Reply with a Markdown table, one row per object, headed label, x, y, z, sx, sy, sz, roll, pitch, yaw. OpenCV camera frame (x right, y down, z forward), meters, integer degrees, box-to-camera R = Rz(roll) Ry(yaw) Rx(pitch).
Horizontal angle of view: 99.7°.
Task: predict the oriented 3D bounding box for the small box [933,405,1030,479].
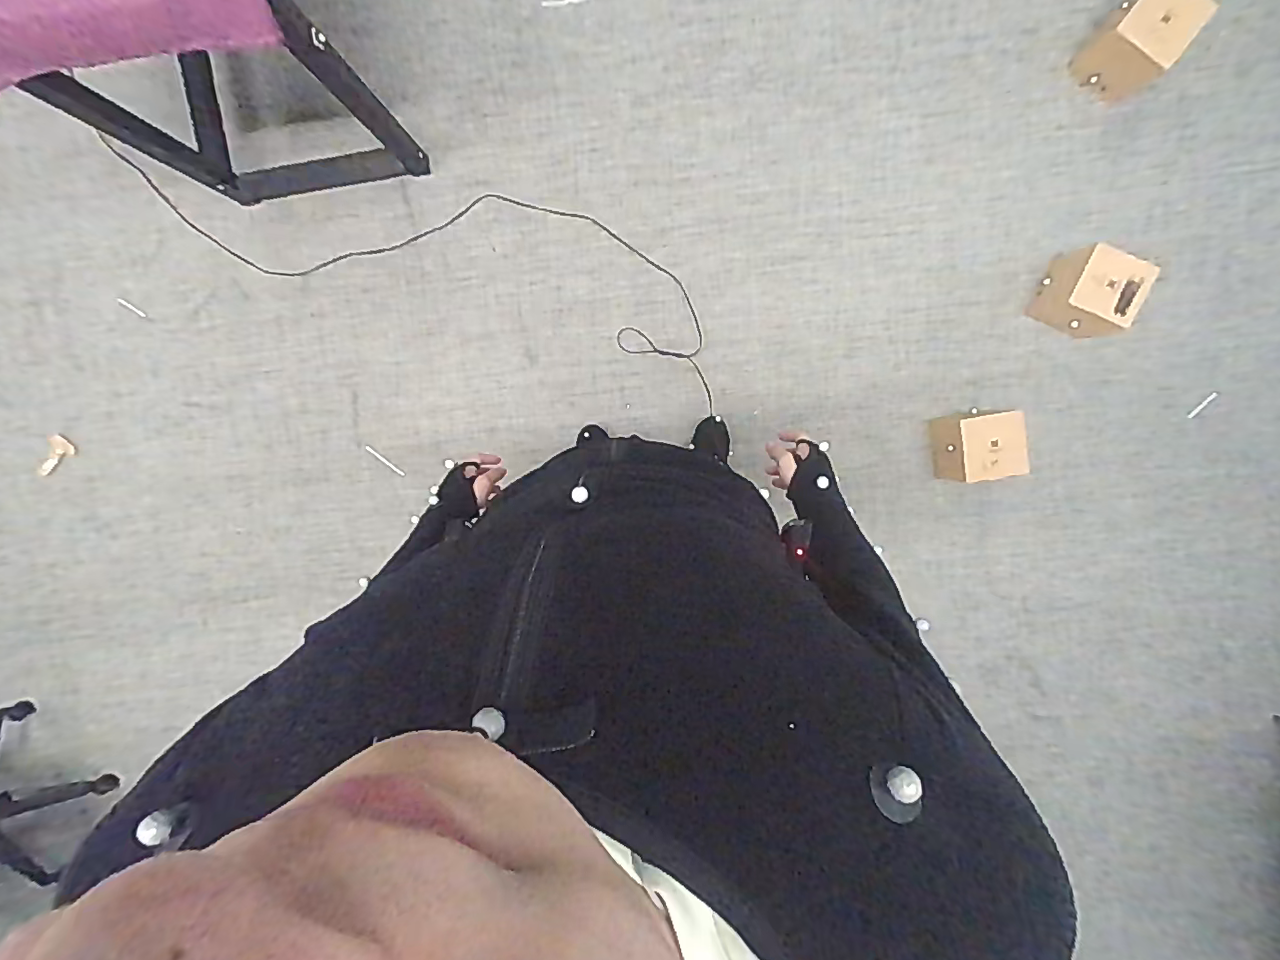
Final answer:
| label | x | y | z | sx | sy | sz | roll | pitch | yaw |
| --- | --- | --- | --- | --- | --- | --- | --- | --- | --- |
| small box | 0.939 | -0.108 | 1.503 | 0.168 | 0.176 | 0.179 | -9 | 97 | 4 |
